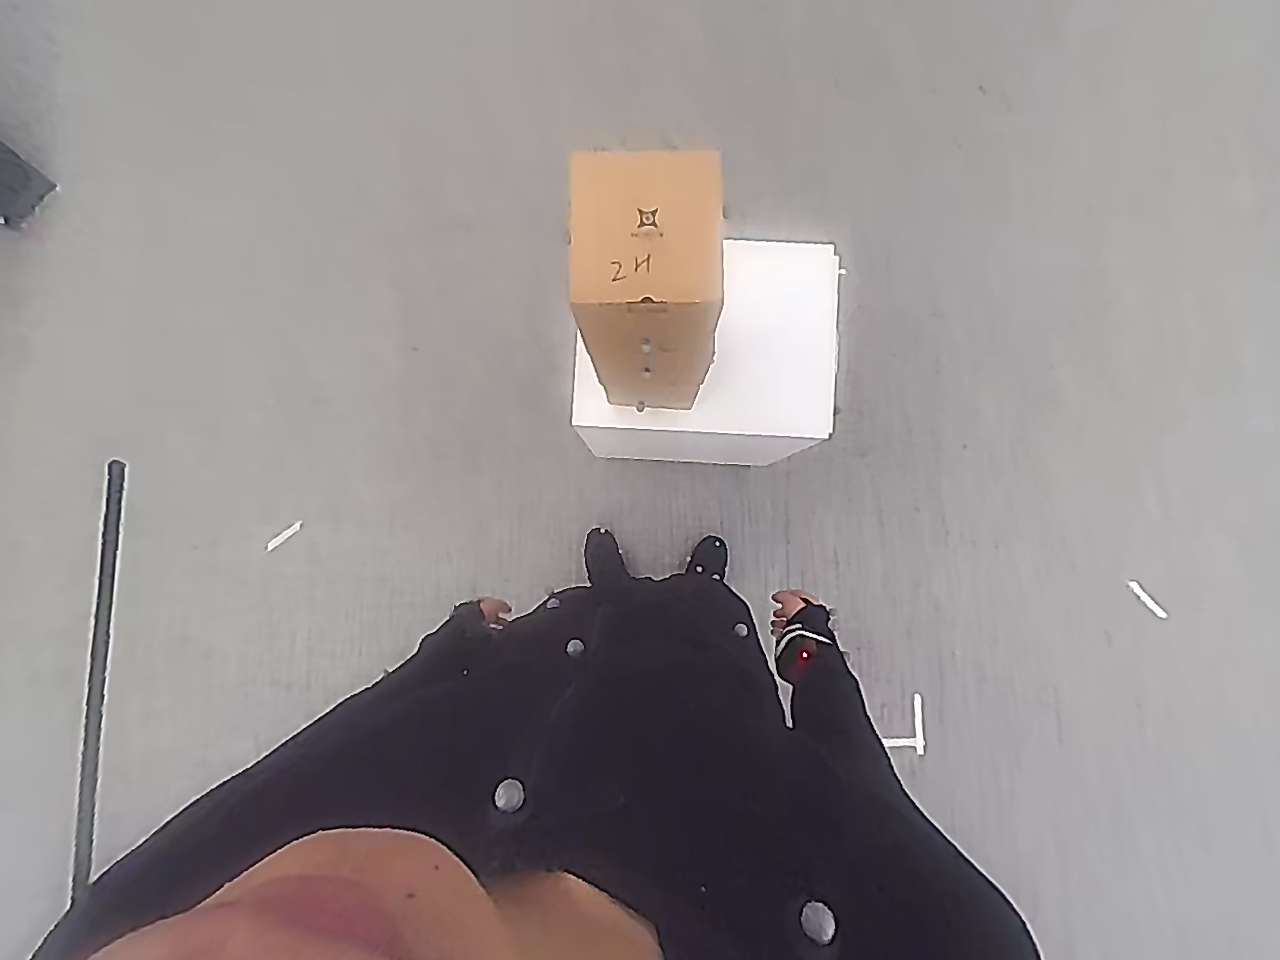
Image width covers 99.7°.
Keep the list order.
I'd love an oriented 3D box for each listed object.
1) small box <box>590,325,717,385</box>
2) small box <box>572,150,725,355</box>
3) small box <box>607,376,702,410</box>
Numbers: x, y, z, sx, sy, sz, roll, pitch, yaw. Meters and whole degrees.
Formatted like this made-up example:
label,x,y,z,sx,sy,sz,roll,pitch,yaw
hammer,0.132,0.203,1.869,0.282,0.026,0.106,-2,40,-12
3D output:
label,x,y,z,sx,sy,sz,roll,pitch,yaw
small box,0.019,-0.247,0.823,0.179,0.176,0.168,0,85,2
small box,0.011,-0.265,0.660,0.168,0.176,0.179,0,85,2
small box,0.026,-0.235,0.987,0.168,0.176,0.179,4,86,1
